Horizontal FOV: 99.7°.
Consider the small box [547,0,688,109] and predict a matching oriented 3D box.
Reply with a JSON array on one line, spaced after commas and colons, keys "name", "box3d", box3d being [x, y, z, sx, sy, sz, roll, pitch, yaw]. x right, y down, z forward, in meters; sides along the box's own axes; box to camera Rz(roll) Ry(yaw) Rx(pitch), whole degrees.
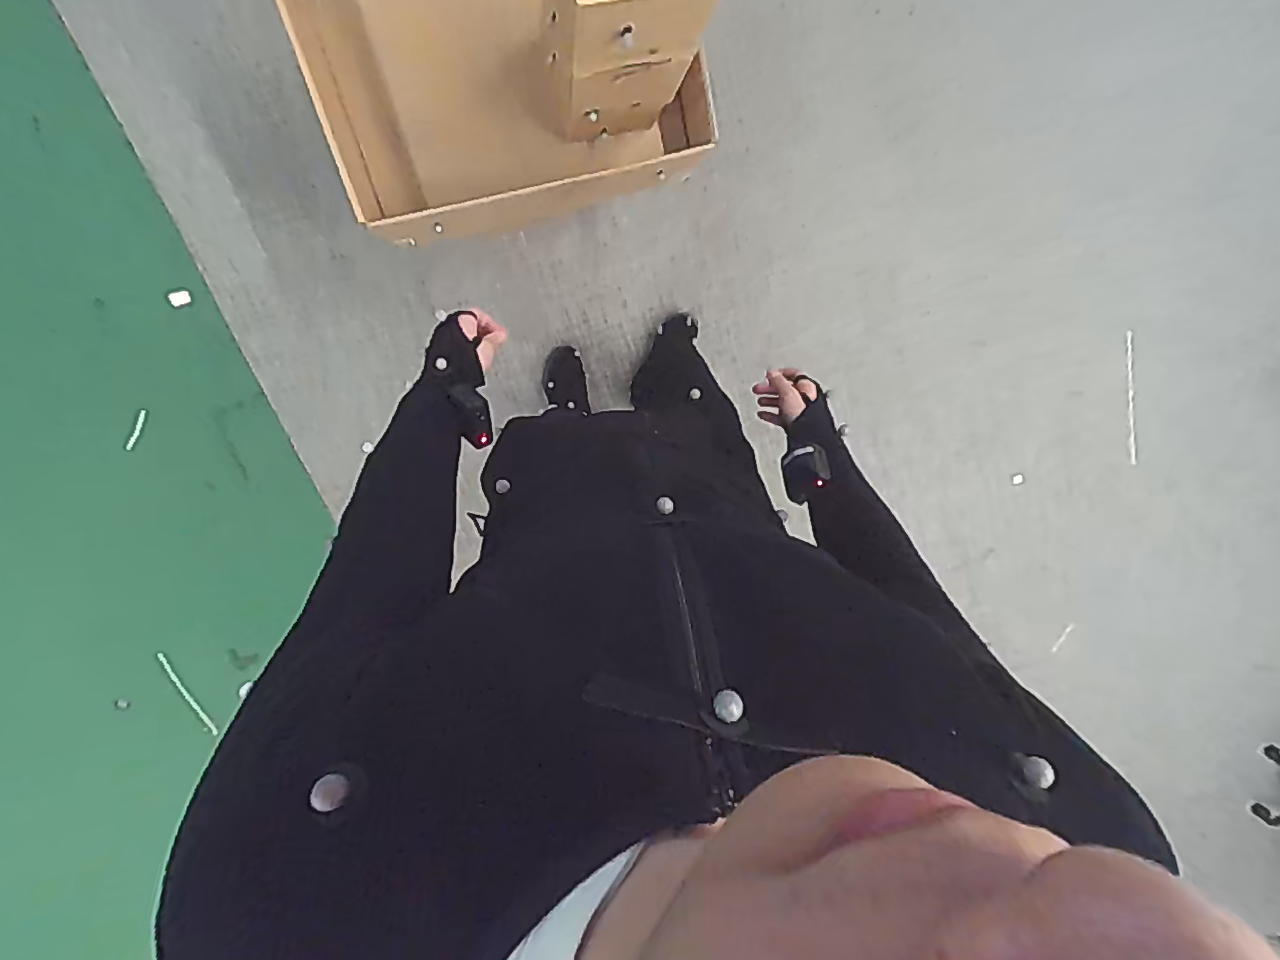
[{"name": "small box", "box3d": [-0.037, -0.644, 0.750, 0.168, 0.176, 0.179, -12, 108, -4]}]

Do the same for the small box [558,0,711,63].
[{"name": "small box", "box3d": [-0.013, -0.596, 0.596, 0.168, 0.176, 0.179, -12, 108, -4]}]
